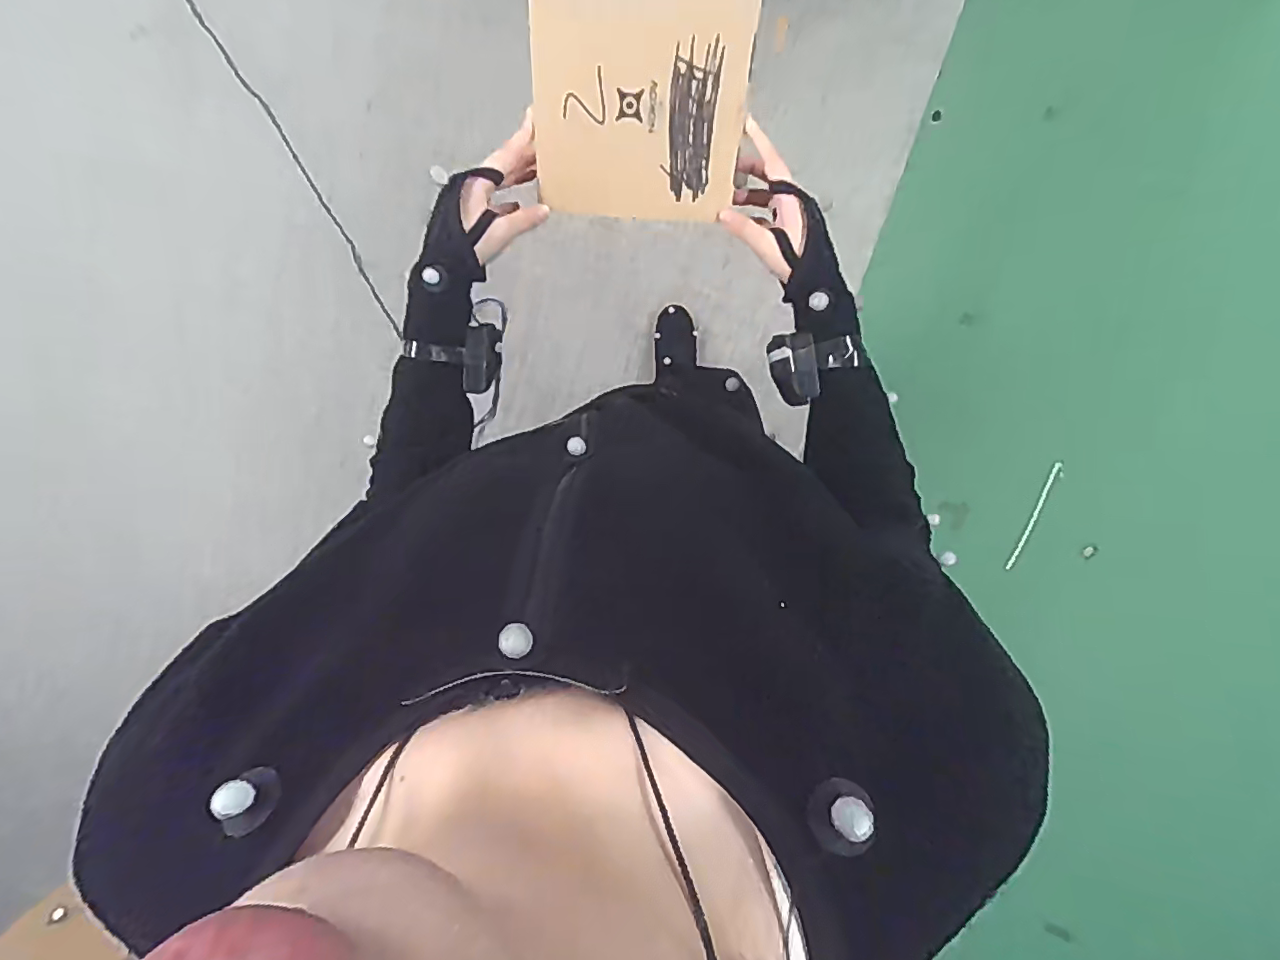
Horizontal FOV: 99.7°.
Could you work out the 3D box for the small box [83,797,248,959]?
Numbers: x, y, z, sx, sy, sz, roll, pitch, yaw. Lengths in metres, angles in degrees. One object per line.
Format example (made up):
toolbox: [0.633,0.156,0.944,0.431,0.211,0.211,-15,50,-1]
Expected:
small box: [-0.892,0.745,1.020,0.179,0.176,0.168,22,100,1]

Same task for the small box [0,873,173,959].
small box: [-0.912,0.778,0.861,0.179,0.176,0.168,21,101,0]
